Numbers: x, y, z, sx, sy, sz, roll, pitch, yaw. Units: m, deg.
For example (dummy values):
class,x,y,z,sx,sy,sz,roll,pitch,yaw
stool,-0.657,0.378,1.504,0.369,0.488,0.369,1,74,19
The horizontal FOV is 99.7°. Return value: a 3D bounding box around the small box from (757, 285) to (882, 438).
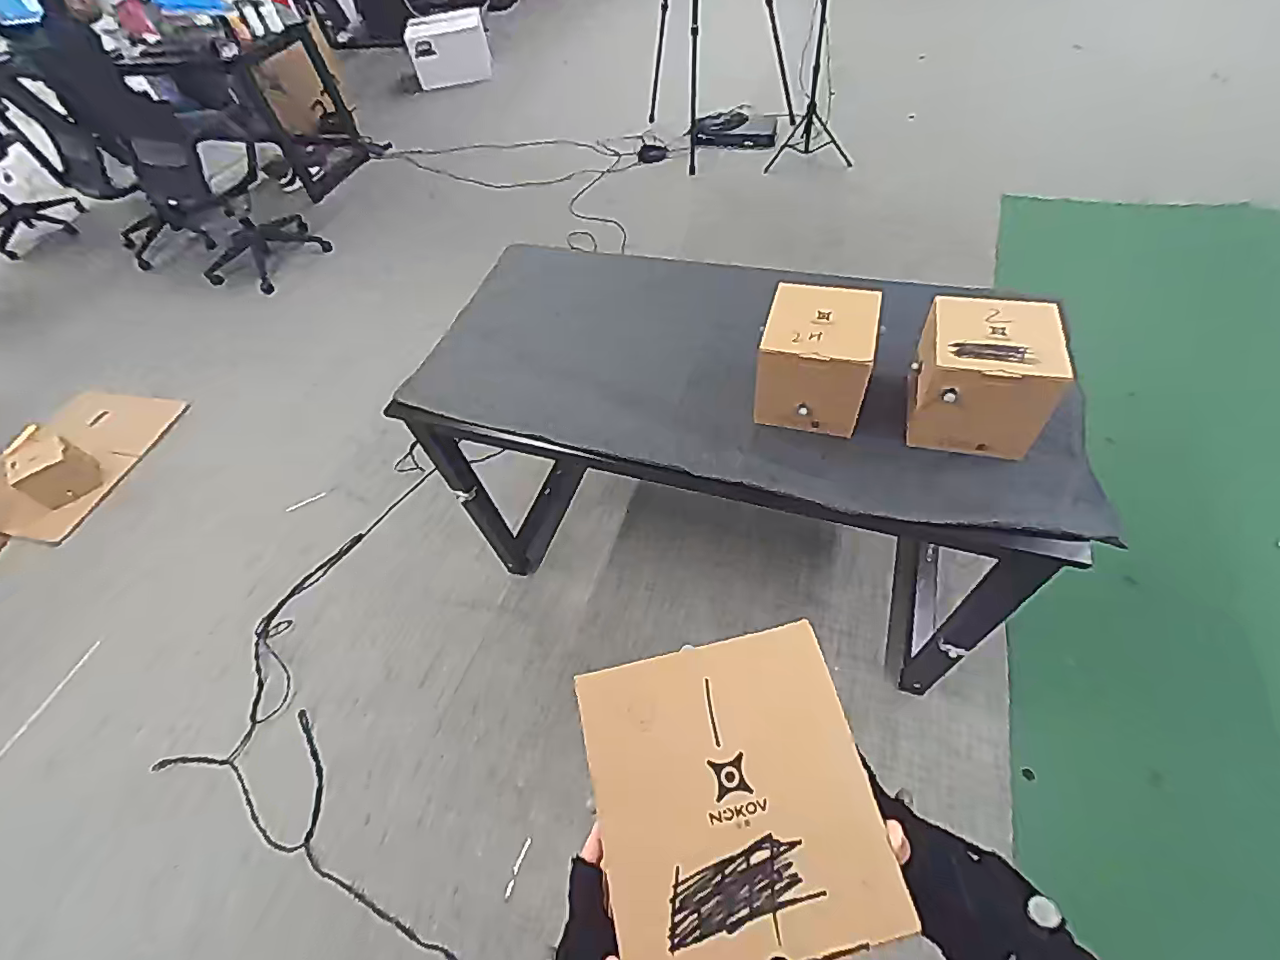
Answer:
class,x,y,z,sx,sy,sz,roll,pitch,yaw
small box,0.295,-0.199,0.908,0.168,0.176,0.179,11,56,17
